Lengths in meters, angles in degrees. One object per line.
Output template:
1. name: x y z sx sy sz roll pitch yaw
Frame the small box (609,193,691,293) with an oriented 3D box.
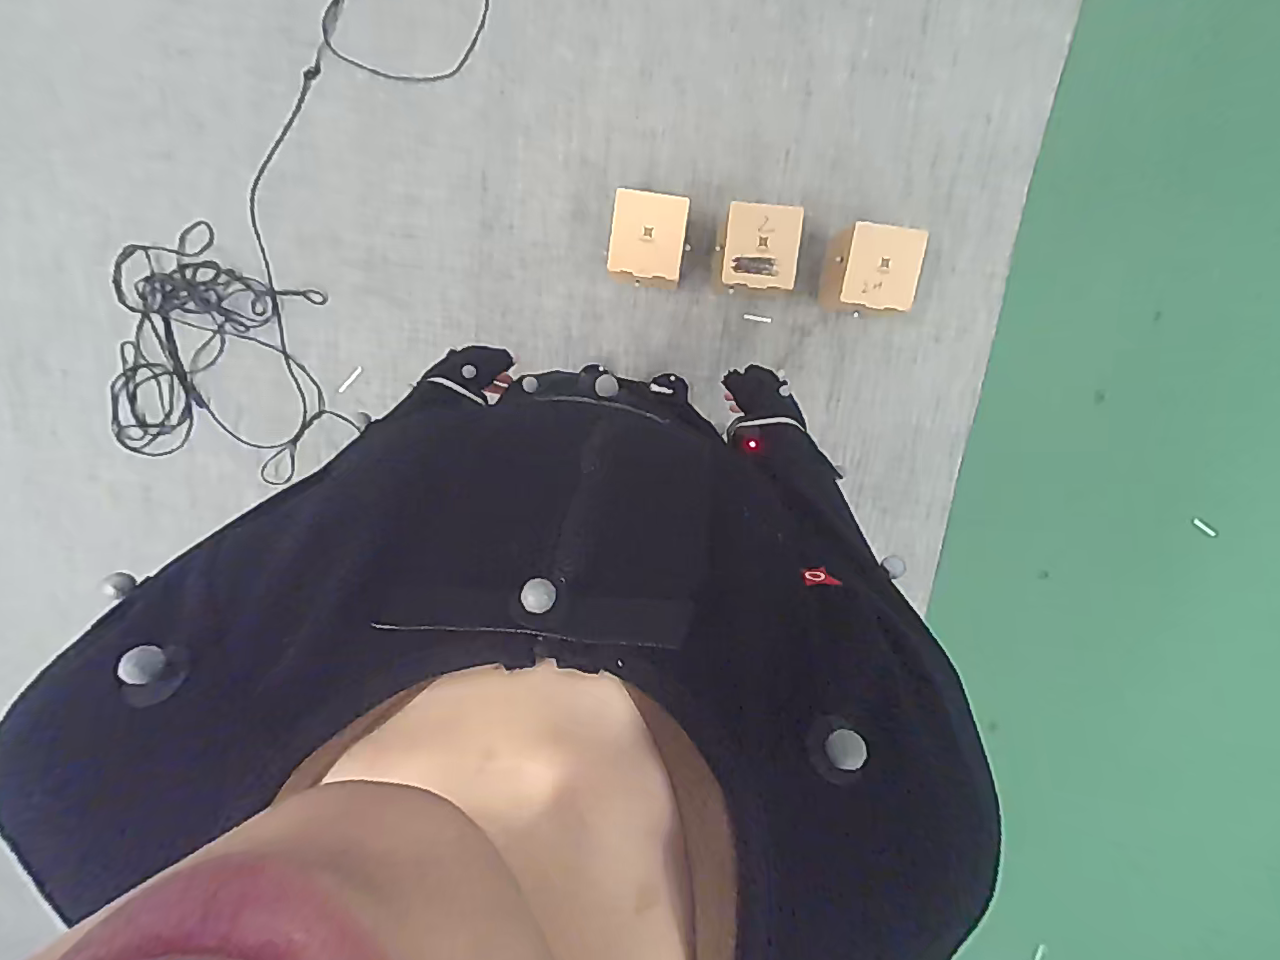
1. small box: 0.022 -0.561 1.299 0.168 0.176 0.179 9 102 0

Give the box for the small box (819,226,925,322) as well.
1. small box: 0.547 -0.487 1.302 0.168 0.176 0.179 9 102 0
